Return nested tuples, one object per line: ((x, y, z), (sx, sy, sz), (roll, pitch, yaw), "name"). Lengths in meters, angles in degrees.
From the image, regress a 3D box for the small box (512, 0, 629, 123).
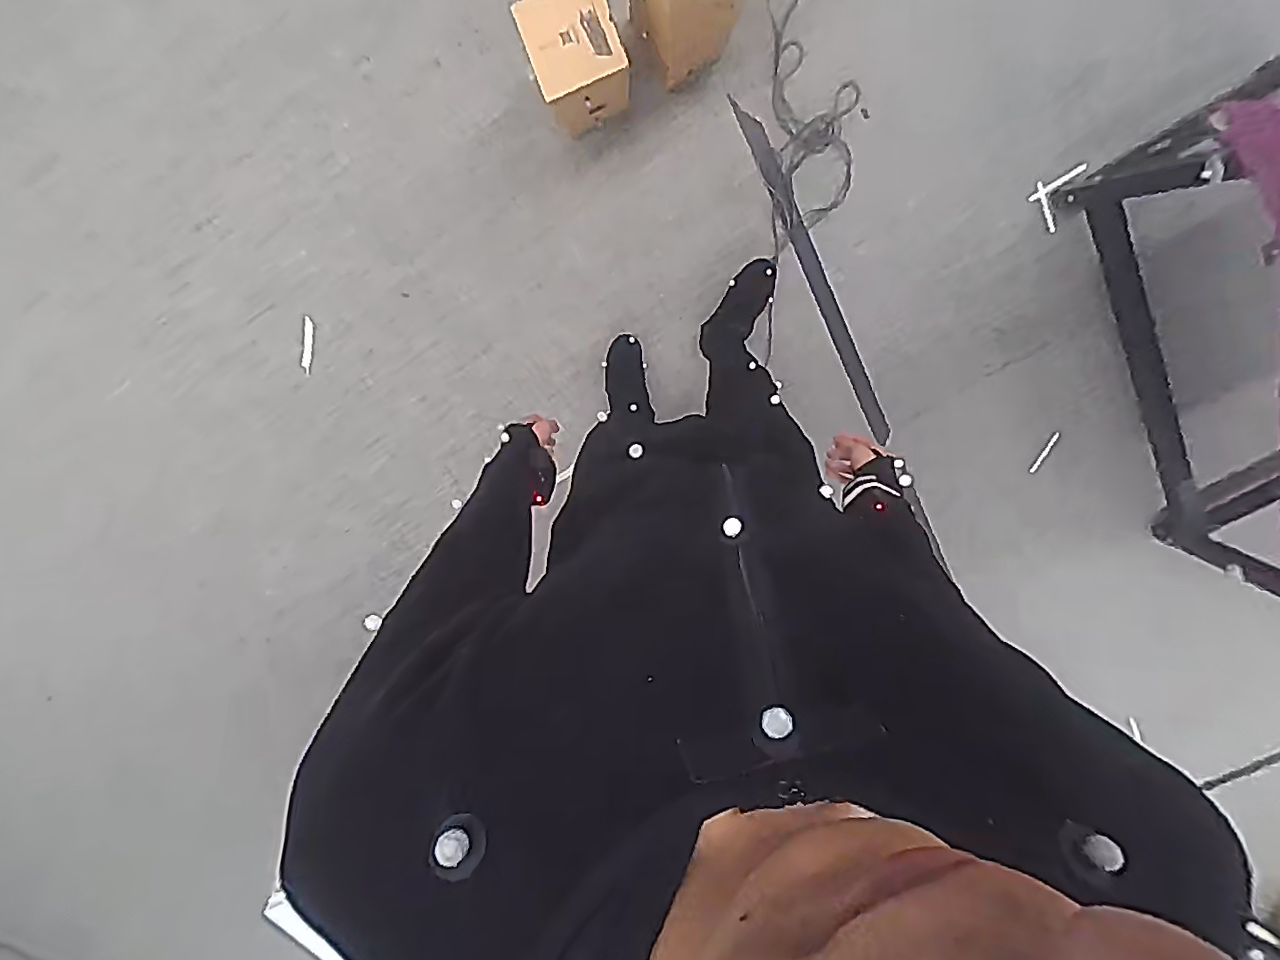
((-0.132, -0.857, 1.087), (0.179, 0.176, 0.168), (-20, 109, 7), "small box")

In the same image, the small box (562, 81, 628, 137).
((-0.136, -0.928, 1.235), (0.168, 0.176, 0.179), (-24, 109, 8), "small box")

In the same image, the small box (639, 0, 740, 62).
((0.092, -0.971, 1.055), (0.179, 0.176, 0.168), (-27, 108, 8), "small box")

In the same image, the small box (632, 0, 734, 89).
((0.088, -1.027, 1.207), (0.168, 0.176, 0.179), (-28, 108, 10), "small box")
